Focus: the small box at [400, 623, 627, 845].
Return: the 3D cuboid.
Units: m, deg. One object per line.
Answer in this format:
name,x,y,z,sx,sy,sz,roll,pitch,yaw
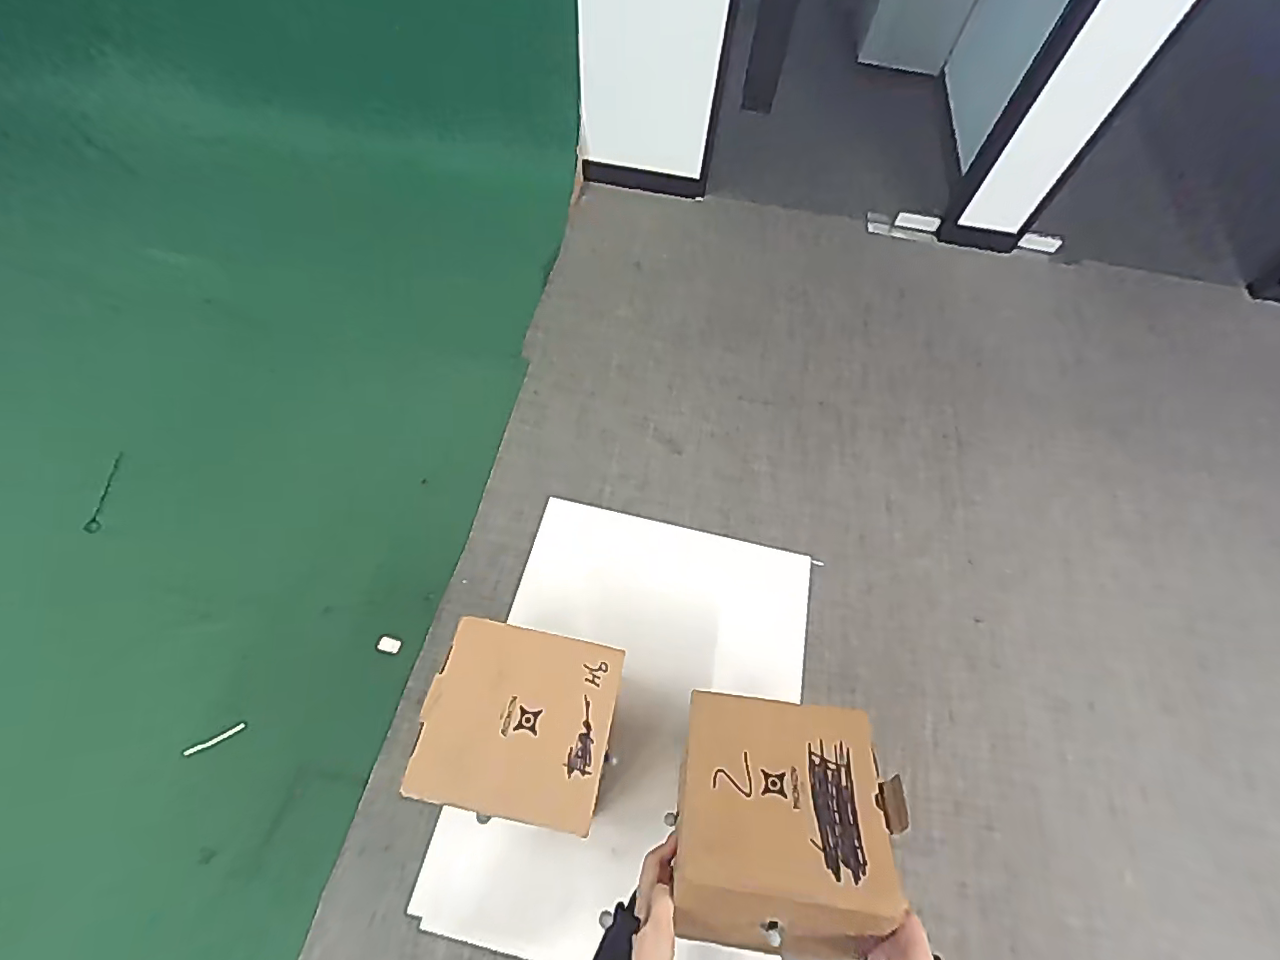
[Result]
small box,-0.119,0.272,0.583,0.179,0.176,0.168,12,61,2
